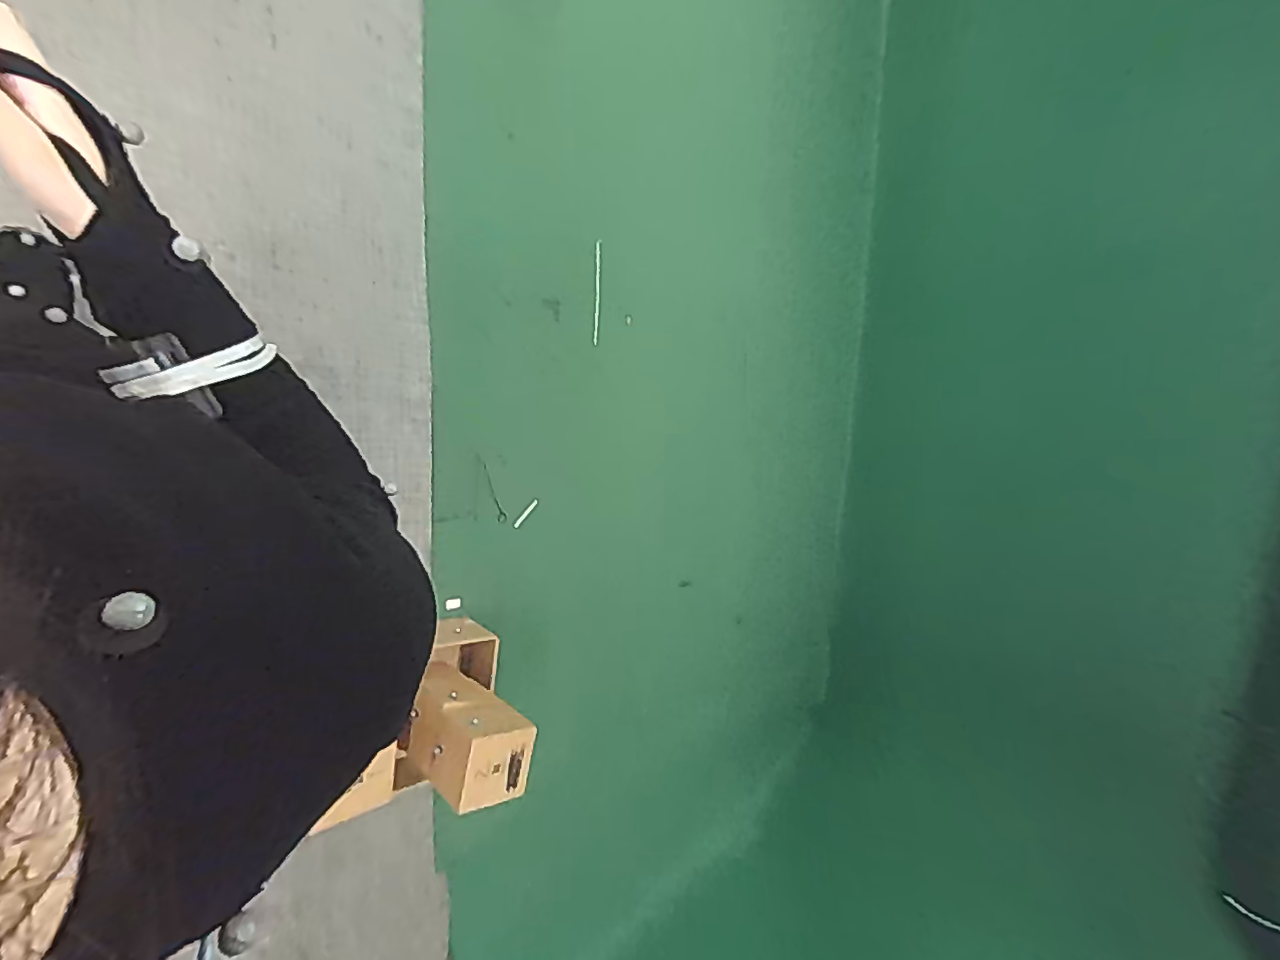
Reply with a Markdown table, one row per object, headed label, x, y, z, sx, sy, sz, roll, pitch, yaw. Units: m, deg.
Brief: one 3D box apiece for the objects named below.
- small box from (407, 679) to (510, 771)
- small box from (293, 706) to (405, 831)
| label | x | y | z | sx | sy | sz | roll | pitch | yaw |
| --- | --- | --- | --- | --- | --- | --- | --- | --- | --- |
| small box | -0.476 | 0.630 | 1.415 | 0.179 | 0.176 | 0.168 | 20 | 82 | -43 |
| small box | -0.659 | 0.637 | 1.219 | 0.179 | 0.176 | 0.168 | 3 | 94 | -48 |
